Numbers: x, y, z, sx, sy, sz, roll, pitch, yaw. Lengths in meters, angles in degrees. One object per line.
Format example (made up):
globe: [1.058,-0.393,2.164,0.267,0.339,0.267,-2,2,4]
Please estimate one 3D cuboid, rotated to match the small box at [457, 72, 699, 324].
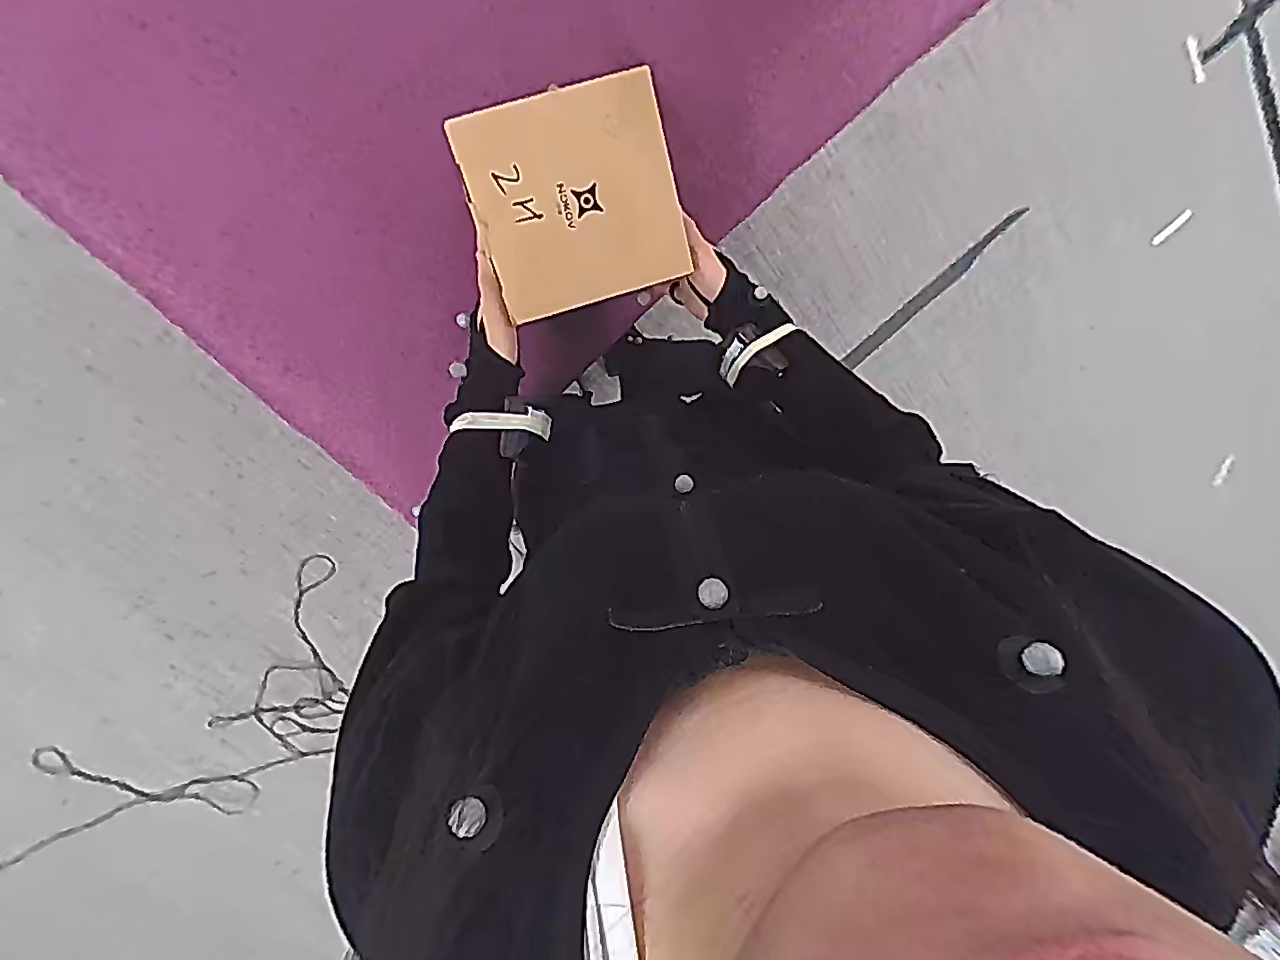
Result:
small box: [-0.059,-0.263,0.538,0.179,0.176,0.168,-17,110,-3]
